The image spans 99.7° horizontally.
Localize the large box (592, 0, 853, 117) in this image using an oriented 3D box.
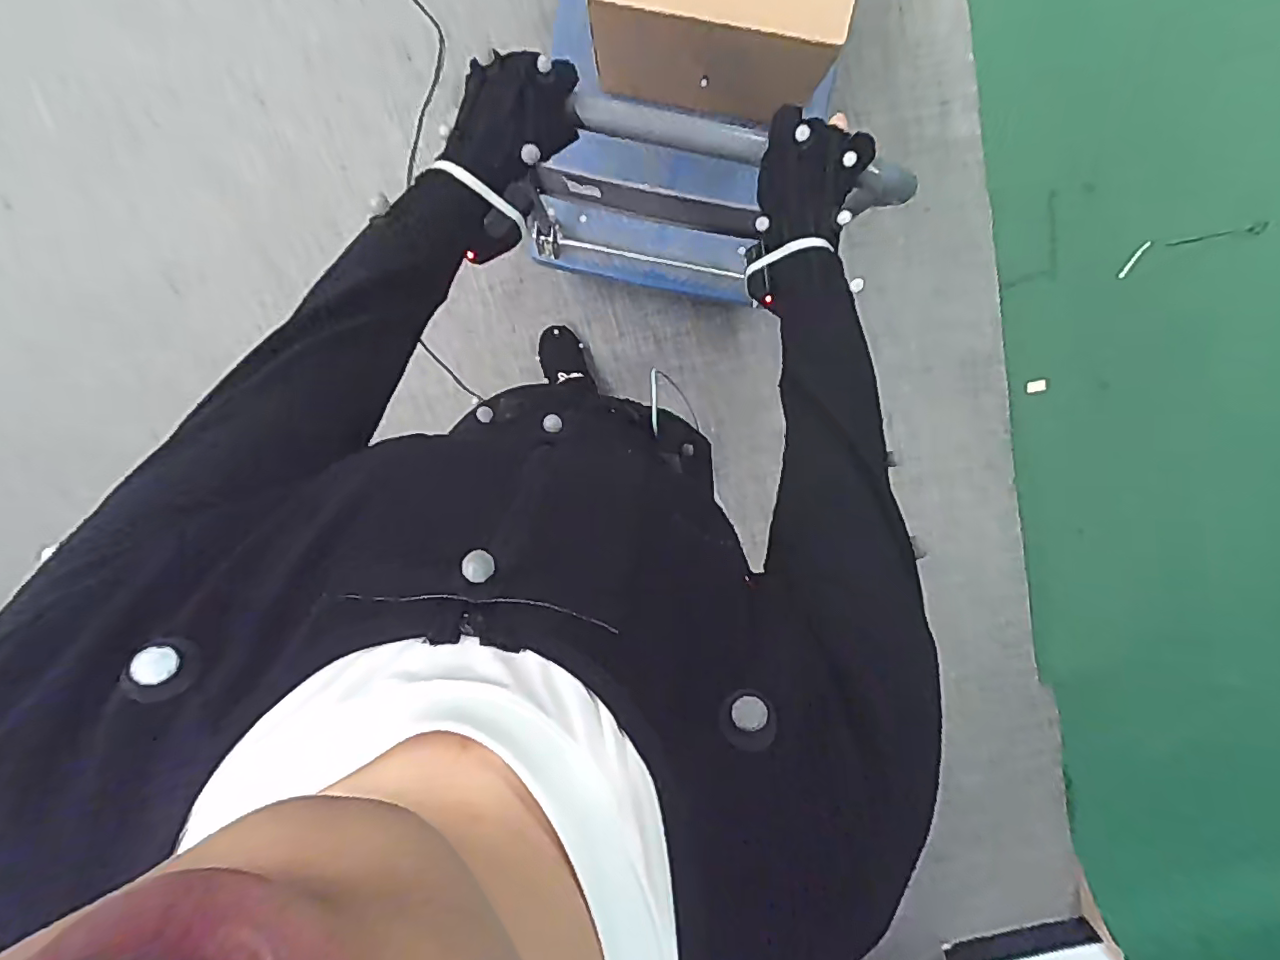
[{"bbox_3d":[0.148,-0.890,0.944,0.408,0.320,0.320,9,103,-1],"label":"large box"}]
